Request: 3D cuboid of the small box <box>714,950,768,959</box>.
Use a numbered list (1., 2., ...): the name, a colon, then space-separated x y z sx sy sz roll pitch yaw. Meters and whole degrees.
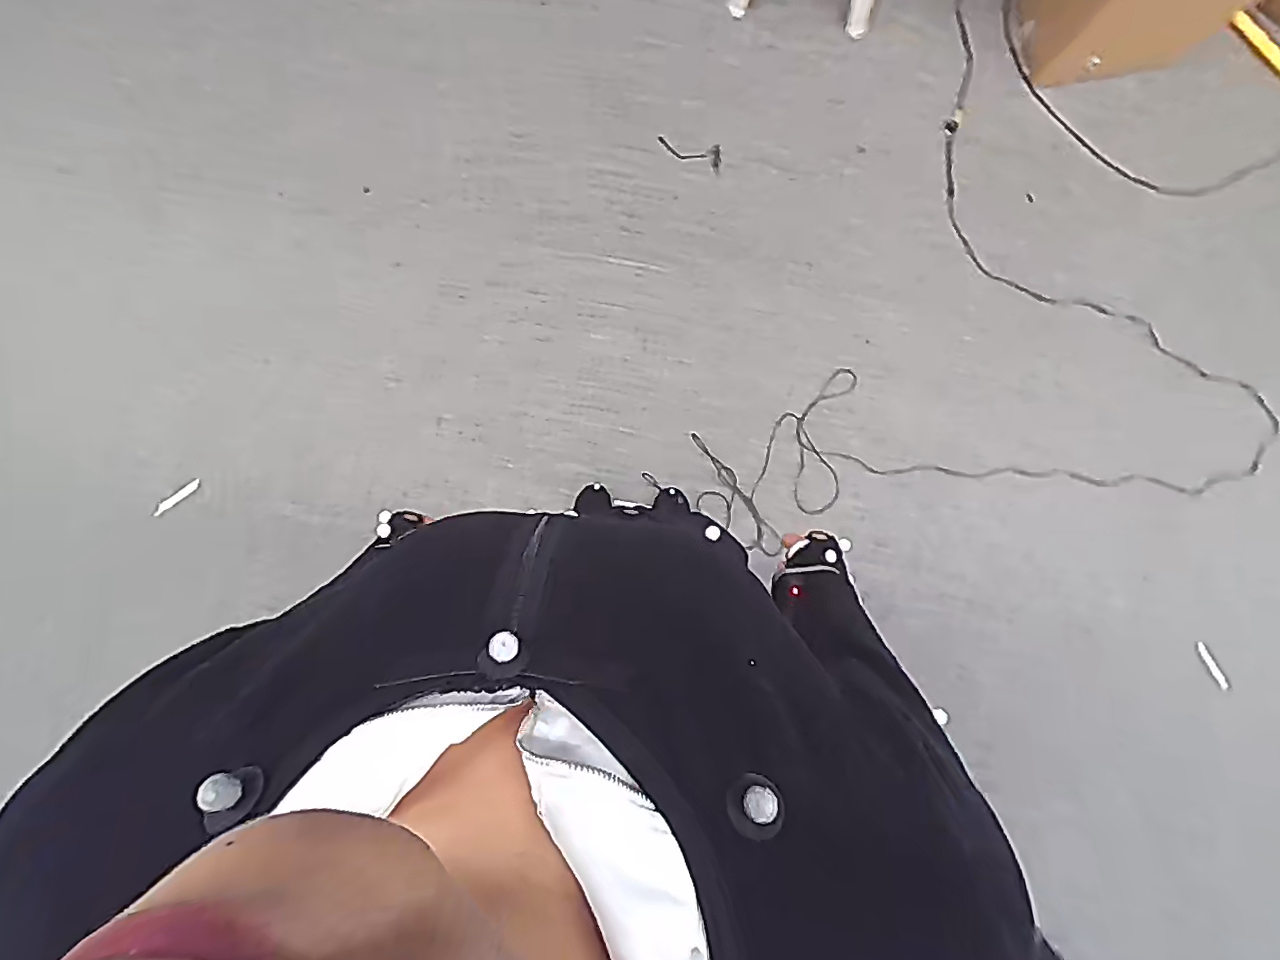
1. small box: 0.281 1.387 1.412 0.179 0.176 0.168 9 89 3
